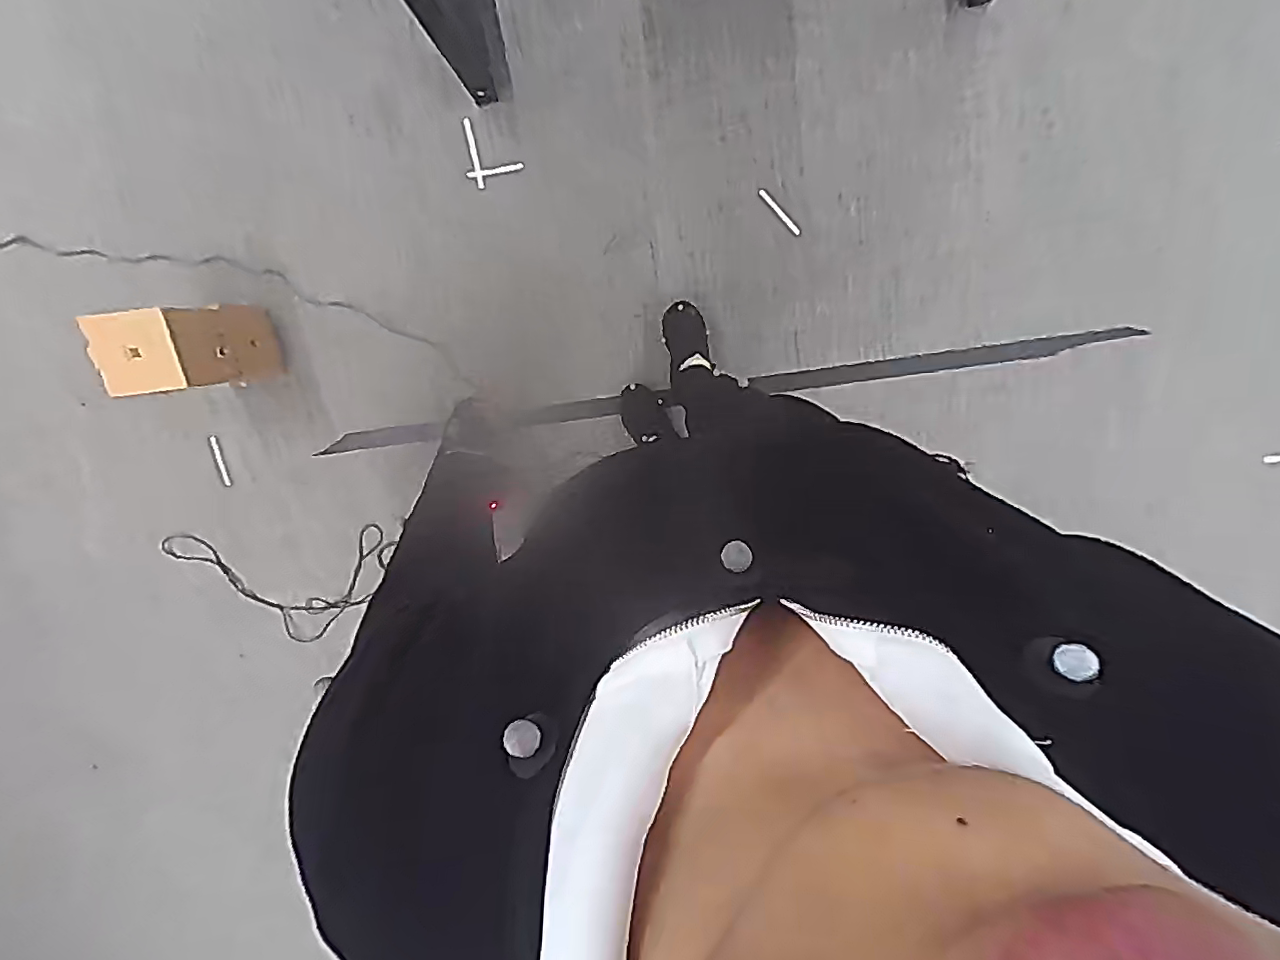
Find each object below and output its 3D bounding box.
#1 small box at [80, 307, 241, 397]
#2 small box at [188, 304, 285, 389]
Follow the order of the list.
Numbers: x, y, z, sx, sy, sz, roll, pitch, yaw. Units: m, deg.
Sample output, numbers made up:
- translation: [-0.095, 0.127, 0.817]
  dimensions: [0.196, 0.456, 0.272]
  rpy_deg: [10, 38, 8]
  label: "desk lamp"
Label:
- translation: [-1.034, -0.282, 1.183]
  dimensions: [0.179, 0.176, 0.168]
  rpy_deg: [-8, 107, 1]
  label: "small box"
- translation: [-1.030, -0.330, 1.339]
  dimensions: [0.168, 0.176, 0.179]
  rpy_deg: [-10, 106, 3]
  label: "small box"
